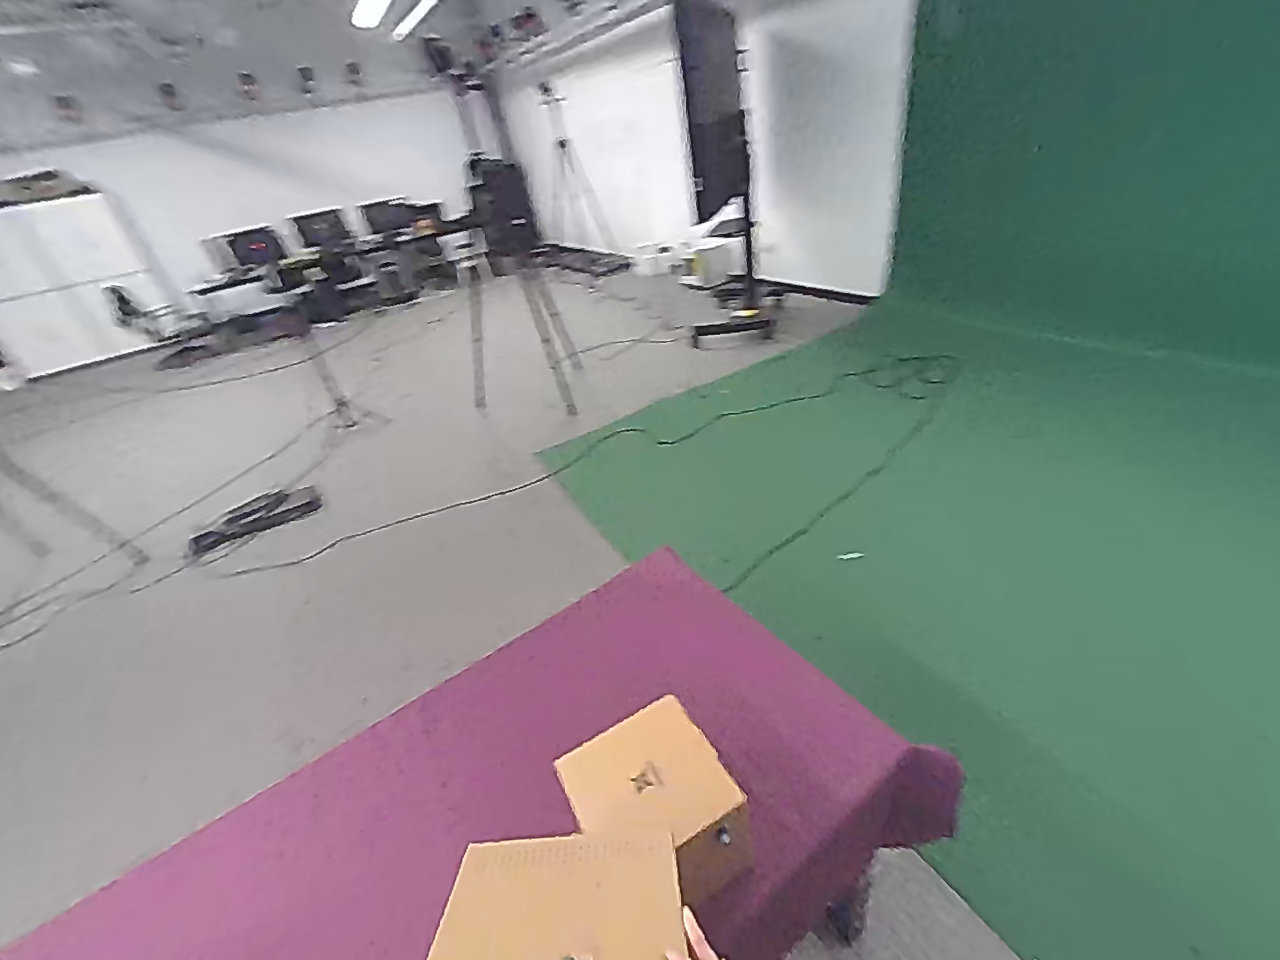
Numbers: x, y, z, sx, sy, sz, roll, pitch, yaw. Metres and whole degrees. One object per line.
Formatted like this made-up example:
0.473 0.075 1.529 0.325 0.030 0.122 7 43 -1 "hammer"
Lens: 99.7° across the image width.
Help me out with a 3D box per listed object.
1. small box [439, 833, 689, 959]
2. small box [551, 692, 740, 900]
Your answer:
-0.051 0.388 0.388 0.179 0.168 0.176 -2 6 -1 "small box"
0.011 0.419 0.687 0.179 0.176 0.168 -23 35 -19 "small box"
